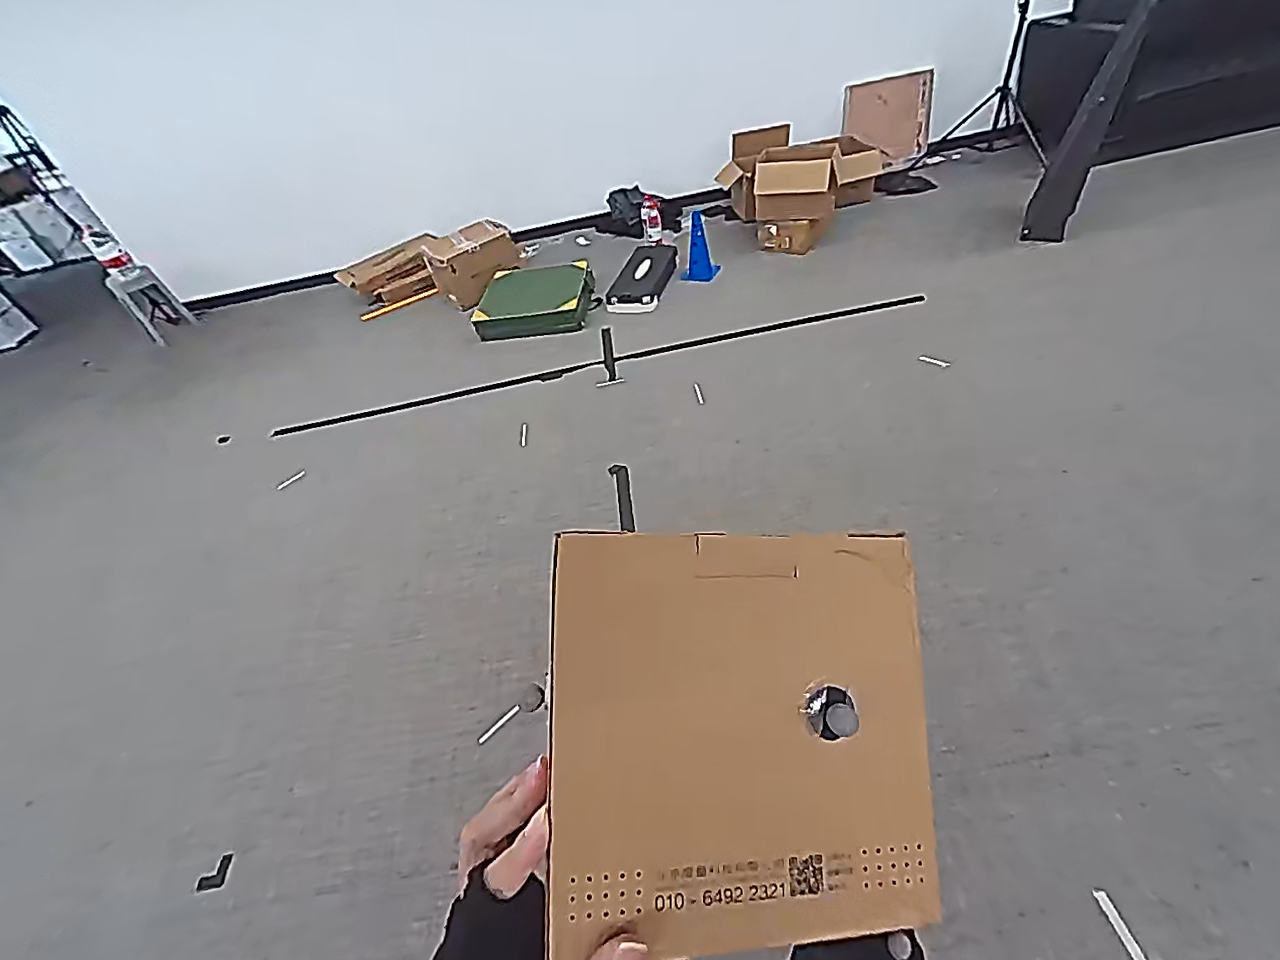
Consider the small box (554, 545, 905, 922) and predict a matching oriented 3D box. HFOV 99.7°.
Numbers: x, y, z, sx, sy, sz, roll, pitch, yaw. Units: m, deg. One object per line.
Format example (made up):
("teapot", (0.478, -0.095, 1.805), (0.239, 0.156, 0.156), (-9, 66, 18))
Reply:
("small box", (0.035, 0.126, 0.326), (0.168, 0.179, 0.176), (2, 82, -9))
